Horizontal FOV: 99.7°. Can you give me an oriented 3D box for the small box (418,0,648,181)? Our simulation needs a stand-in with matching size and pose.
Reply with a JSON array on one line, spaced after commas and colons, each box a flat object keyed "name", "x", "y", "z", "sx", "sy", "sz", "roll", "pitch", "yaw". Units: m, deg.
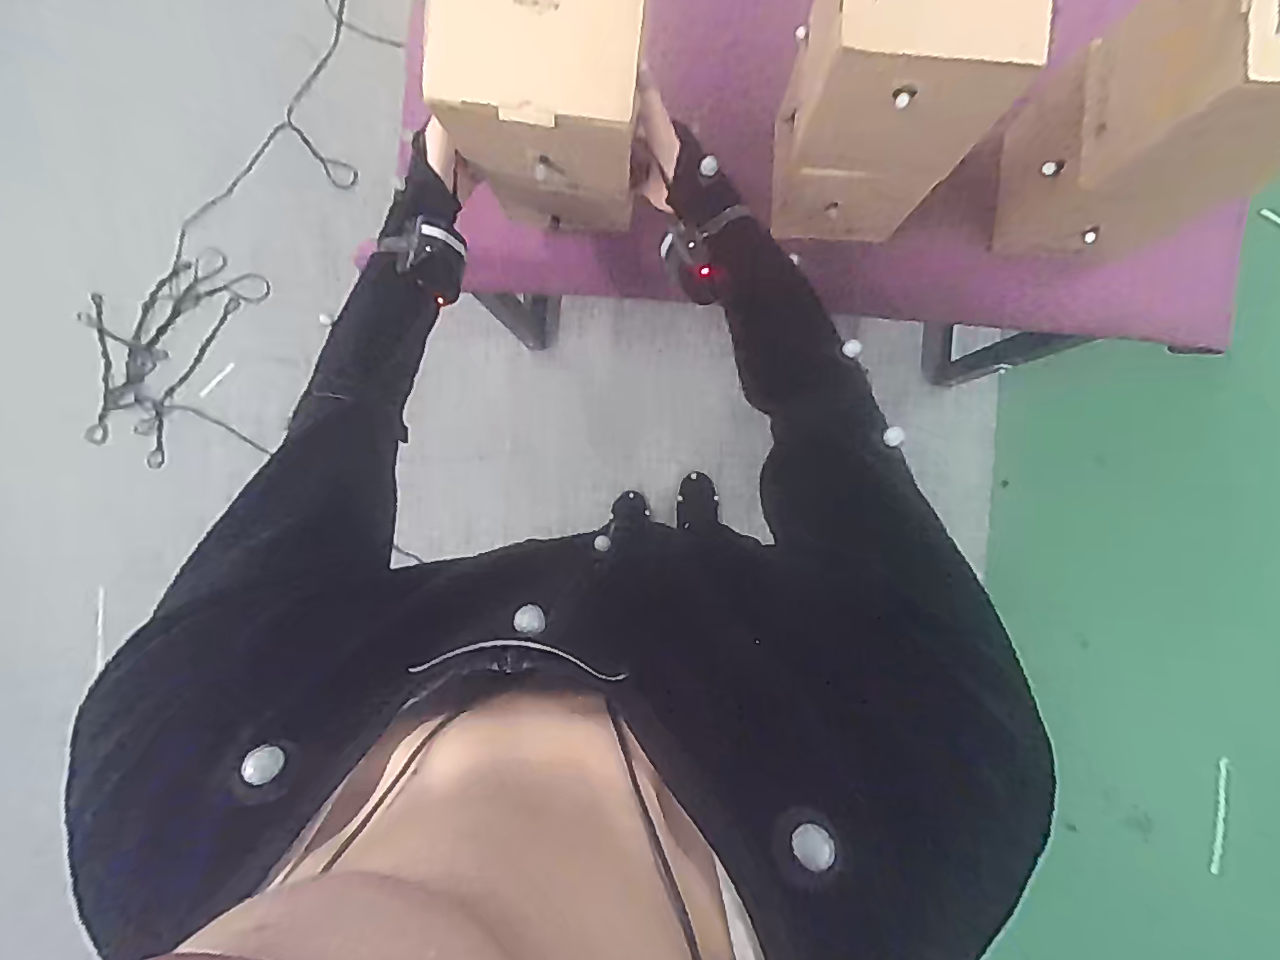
[{"name": "small box", "x": -0.082, "y": -0.394, "z": 0.484, "sx": 0.168, "sy": 0.176, "sz": 0.179, "roll": 7, "pitch": 100, "yaw": -3}]

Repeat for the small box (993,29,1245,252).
[{"name": "small box", "x": 0.581, "y": -0.410, "z": 0.681, "sx": 0.168, "sy": 0.176, "sz": 0.179, "roll": 6, "pitch": 89, "yaw": 2}]

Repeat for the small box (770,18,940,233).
[{"name": "small box", "x": 0.267, "y": -0.439, "z": 0.695, "sx": 0.168, "sy": 0.176, "sz": 0.179, "roll": 3, "pitch": 89, "yaw": 2}]

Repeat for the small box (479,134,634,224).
[{"name": "small box", "x": -0.092, "y": -0.430, "z": 0.647, "sx": 0.168, "sy": 0.176, "sz": 0.179, "roll": 2, "pitch": 100, "yaw": -5}]

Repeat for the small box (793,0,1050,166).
[{"name": "small box", "x": 0.260, "y": -0.439, "z": 0.530, "sx": 0.179, "sy": 0.176, "sz": 0.168, "roll": 7, "pitch": 89, "yaw": 1}]
